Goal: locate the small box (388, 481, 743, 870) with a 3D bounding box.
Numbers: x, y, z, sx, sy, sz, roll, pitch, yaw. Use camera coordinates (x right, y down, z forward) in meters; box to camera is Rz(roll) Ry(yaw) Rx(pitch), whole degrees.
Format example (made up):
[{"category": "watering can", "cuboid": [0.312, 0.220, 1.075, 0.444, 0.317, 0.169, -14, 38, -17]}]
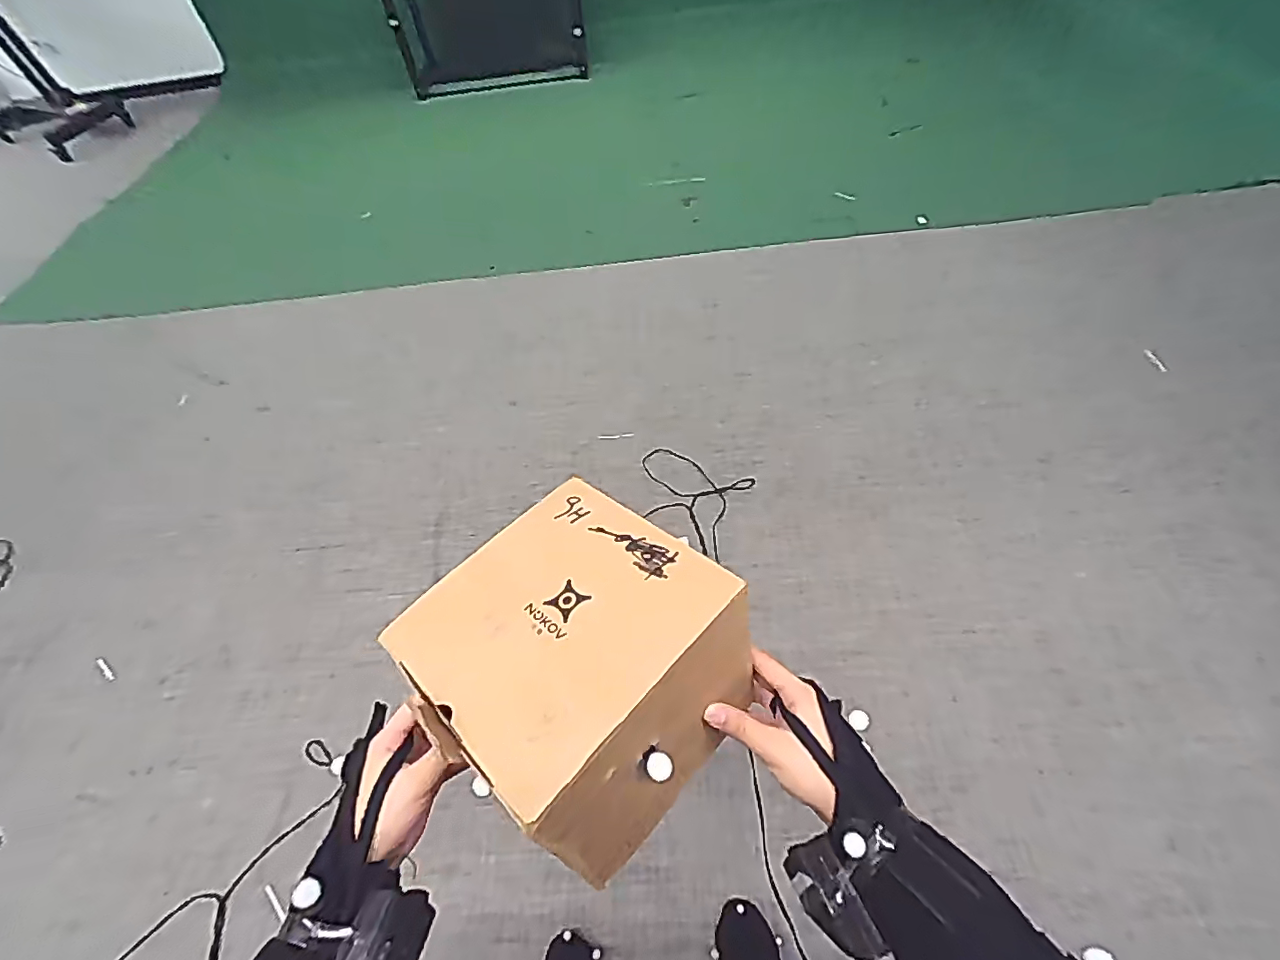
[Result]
[{"category": "small box", "cuboid": [-0.037, 0.139, 0.397, 0.168, 0.176, 0.179, 30, 60, 35]}]
